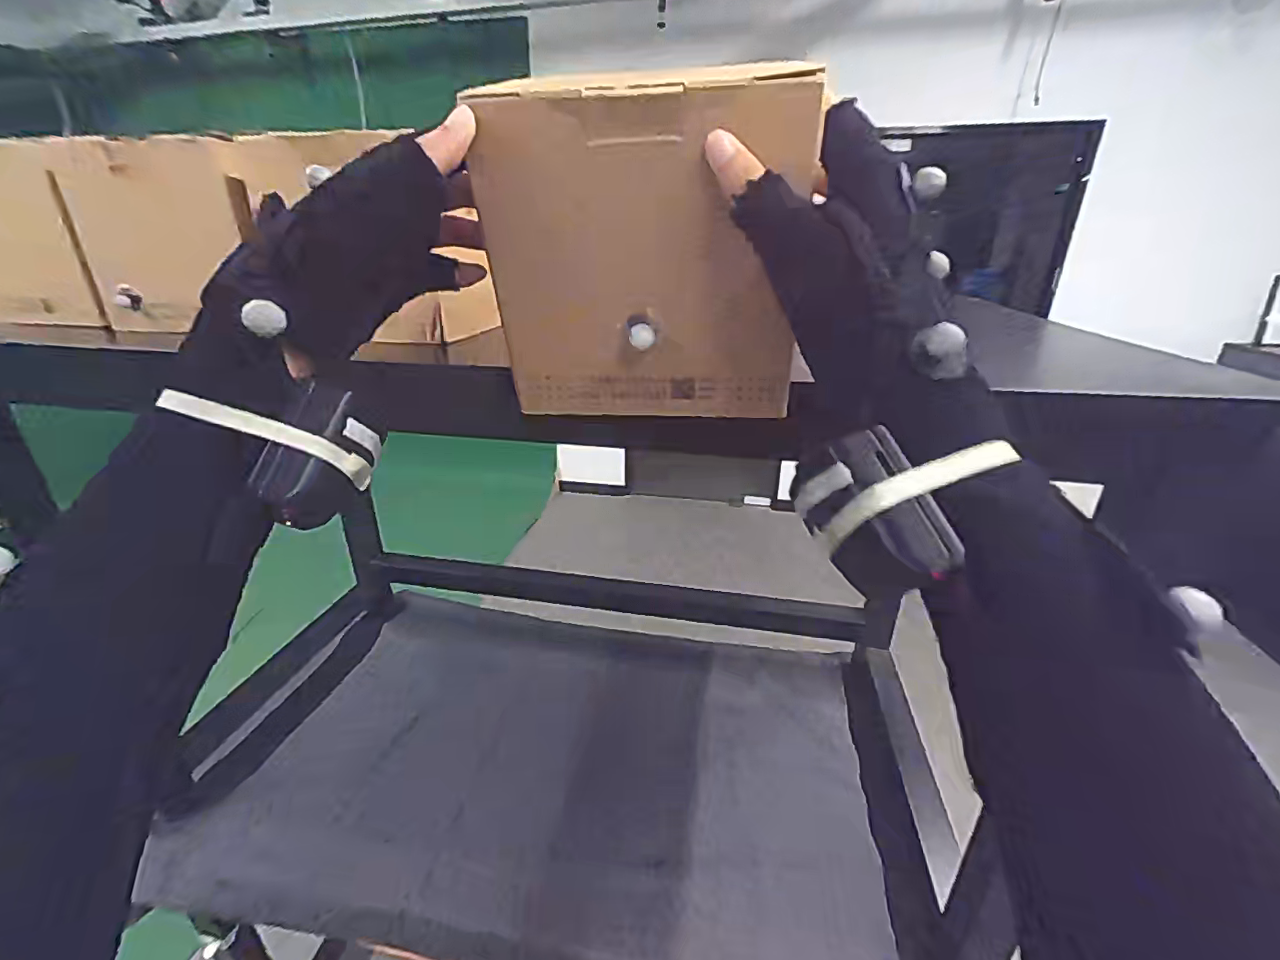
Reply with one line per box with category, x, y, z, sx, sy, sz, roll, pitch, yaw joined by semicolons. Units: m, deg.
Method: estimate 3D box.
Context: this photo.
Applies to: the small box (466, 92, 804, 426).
small box;0.009;-0.153;0.364;0.168;0.176;0.179;2;37;8
